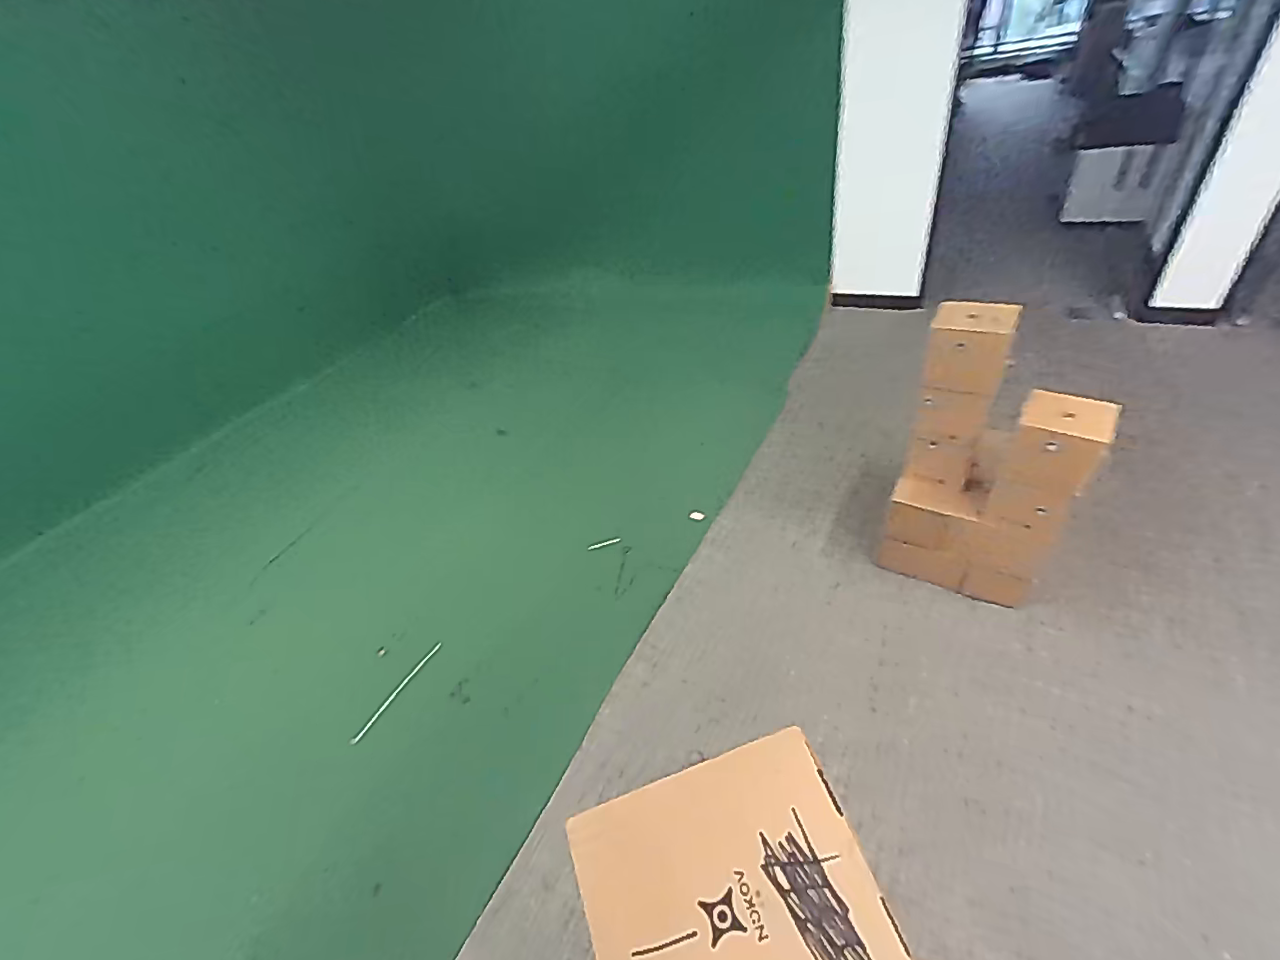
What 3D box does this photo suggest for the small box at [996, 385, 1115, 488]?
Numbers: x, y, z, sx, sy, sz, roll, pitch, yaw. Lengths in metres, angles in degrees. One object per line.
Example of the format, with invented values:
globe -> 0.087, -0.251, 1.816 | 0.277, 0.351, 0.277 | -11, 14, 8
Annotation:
small box -> 1.004, -0.103, 1.315 | 0.179, 0.176, 0.168 | 21, 50, 32

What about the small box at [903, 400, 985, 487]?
small box -> 0.898, -0.110, 1.605 | 0.168, 0.176, 0.179 | 18, 48, 33

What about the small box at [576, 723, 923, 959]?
small box -> 0.068, 0.302, 0.393 | 0.179, 0.176, 0.168 | -18, 55, -7

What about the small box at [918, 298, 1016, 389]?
small box -> 0.833, -0.351, 1.388 | 0.179, 0.176, 0.168 | 17, 48, 32

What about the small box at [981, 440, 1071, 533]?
small box -> 1.026, 0.010, 1.430 | 0.168, 0.176, 0.179 | 21, 49, 31
